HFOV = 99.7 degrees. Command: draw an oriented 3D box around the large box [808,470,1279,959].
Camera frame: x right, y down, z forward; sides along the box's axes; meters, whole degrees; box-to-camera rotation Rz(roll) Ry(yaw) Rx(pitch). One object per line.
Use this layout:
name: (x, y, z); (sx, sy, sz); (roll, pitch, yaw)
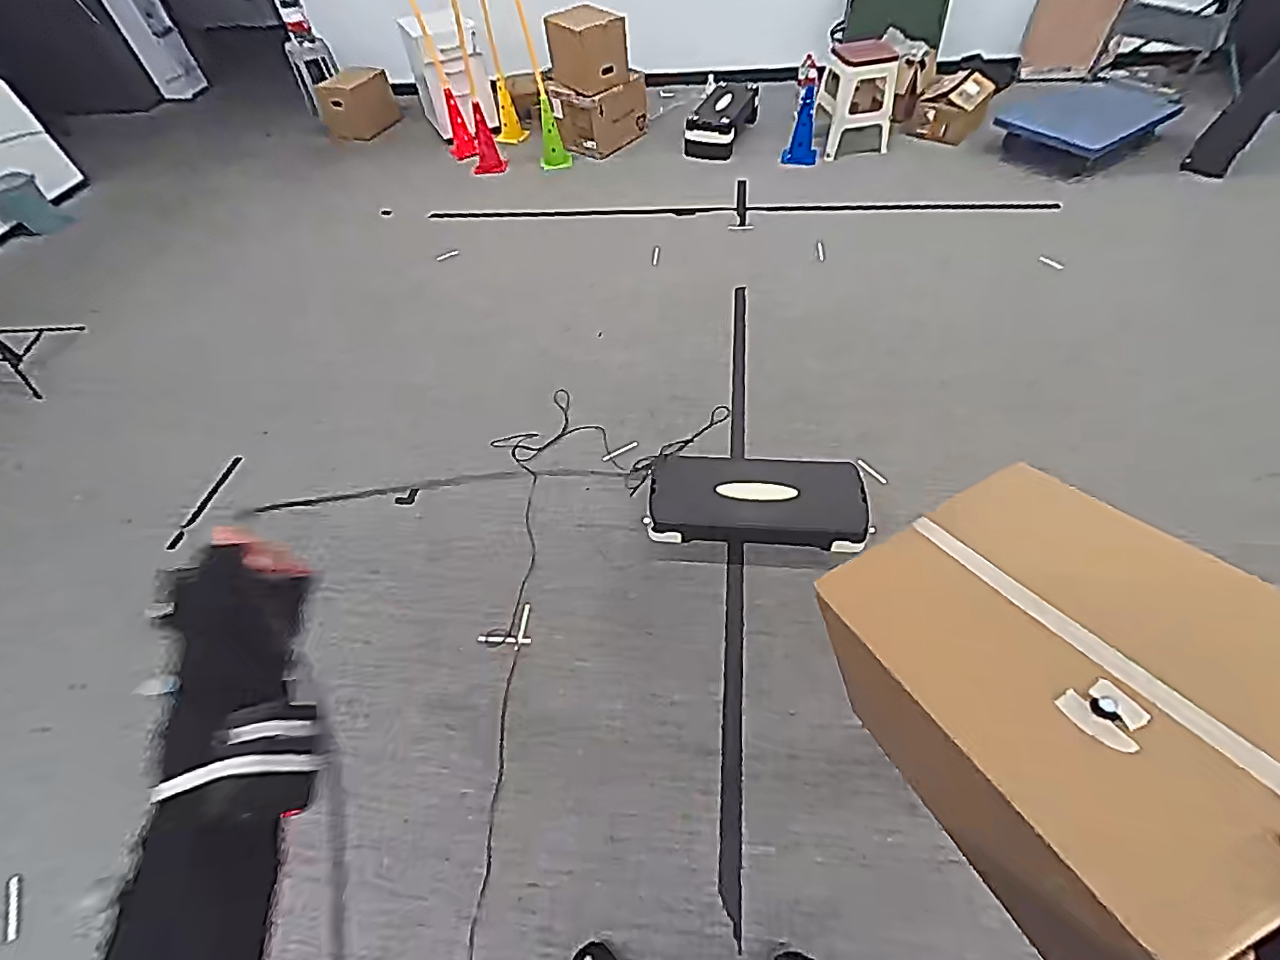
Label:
large box: (0.457, 0.258, 0.606); (0.320, 0.320, 0.408); (-30, 34, -3)
